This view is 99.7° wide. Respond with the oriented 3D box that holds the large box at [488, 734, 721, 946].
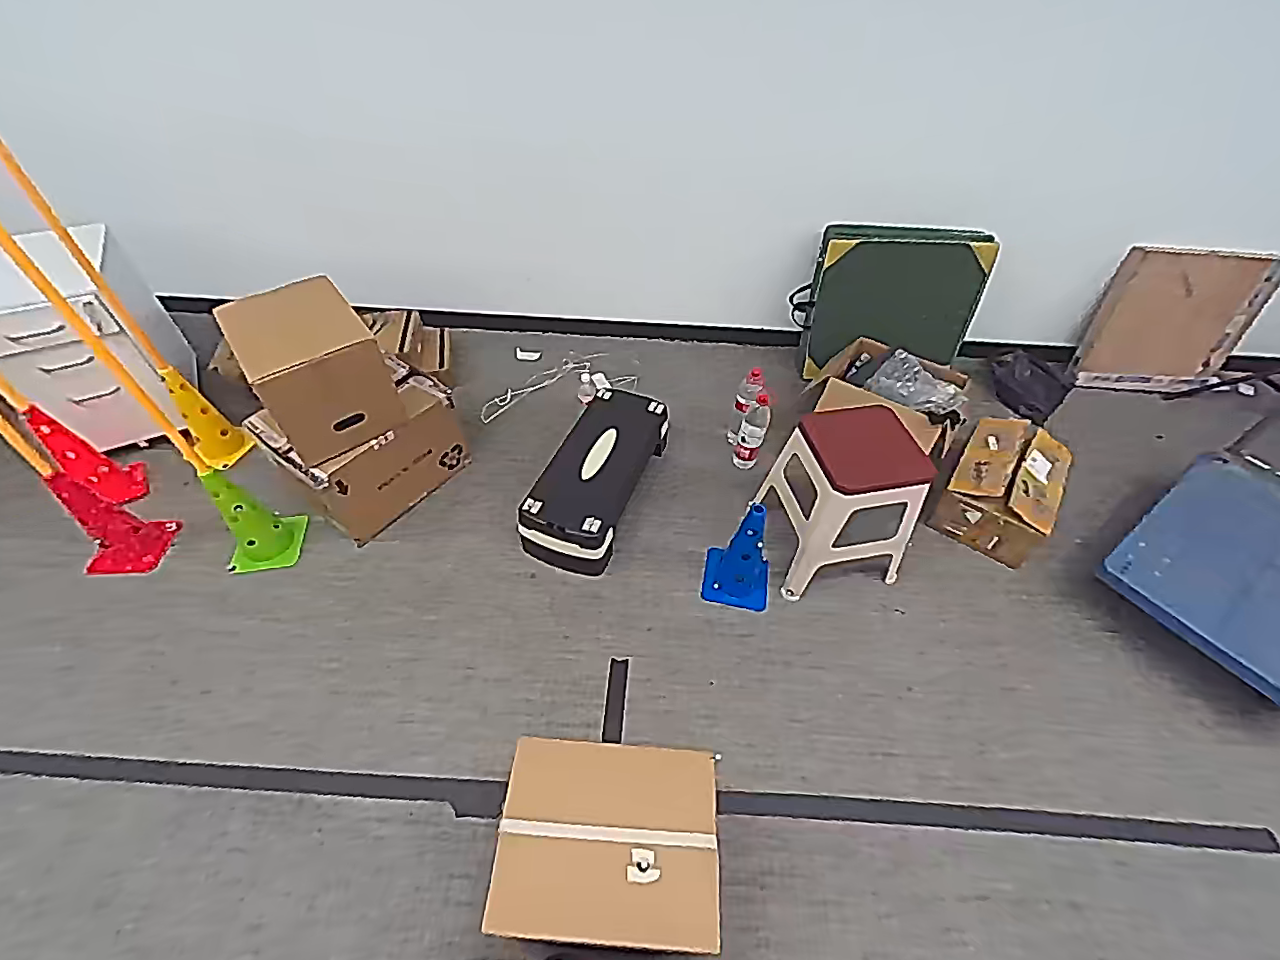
[{"bbox_3d":[-0.064,0.748,1.117,0.408,0.320,0.320,5,49,0],"label":"large box"}]
